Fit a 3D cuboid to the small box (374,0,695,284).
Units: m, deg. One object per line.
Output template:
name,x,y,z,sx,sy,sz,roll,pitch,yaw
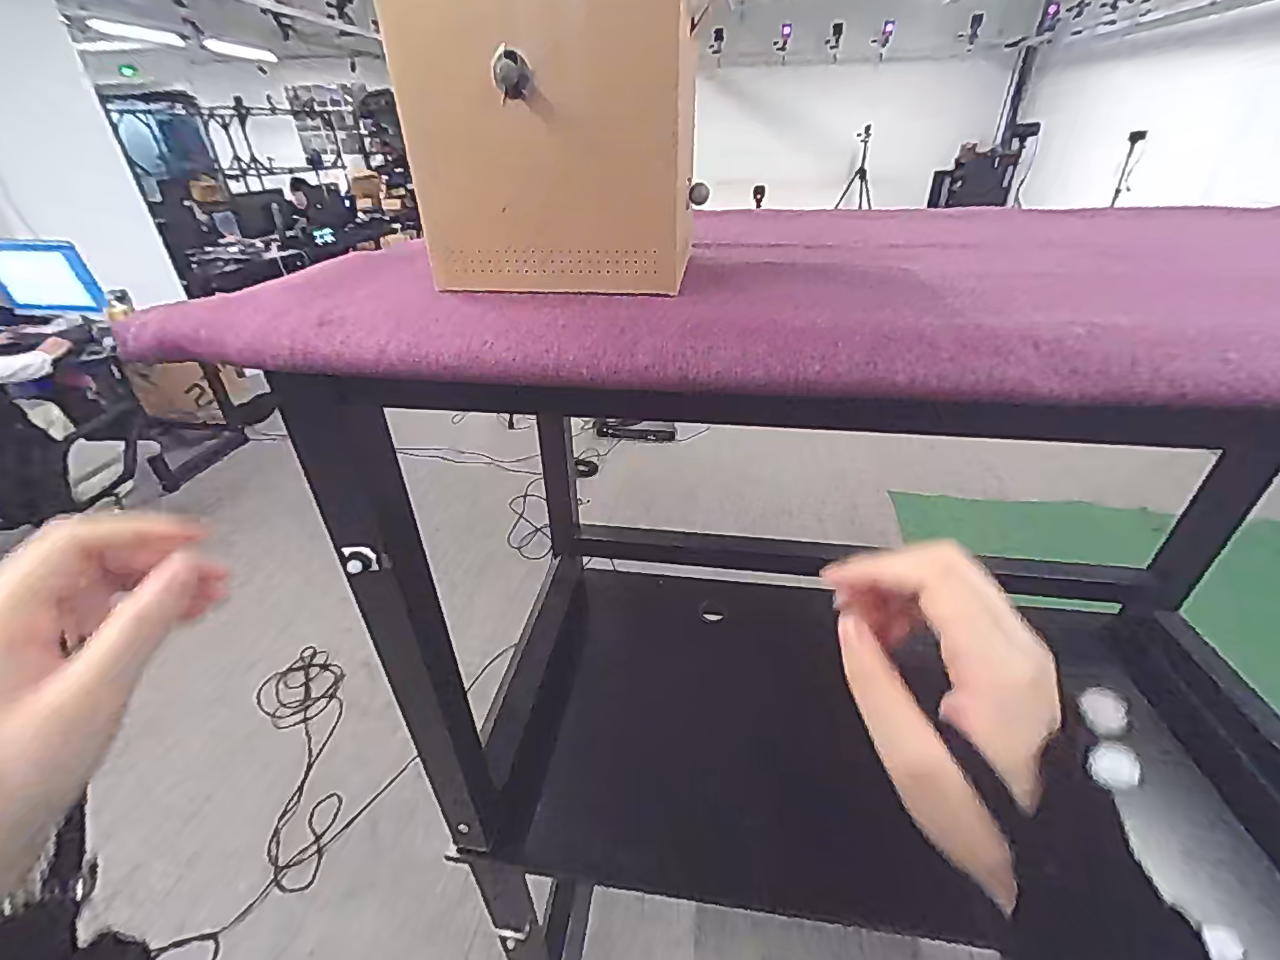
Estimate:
small box,-0.054,-0.245,0.391,0.179,0.176,0.168,3,34,7
